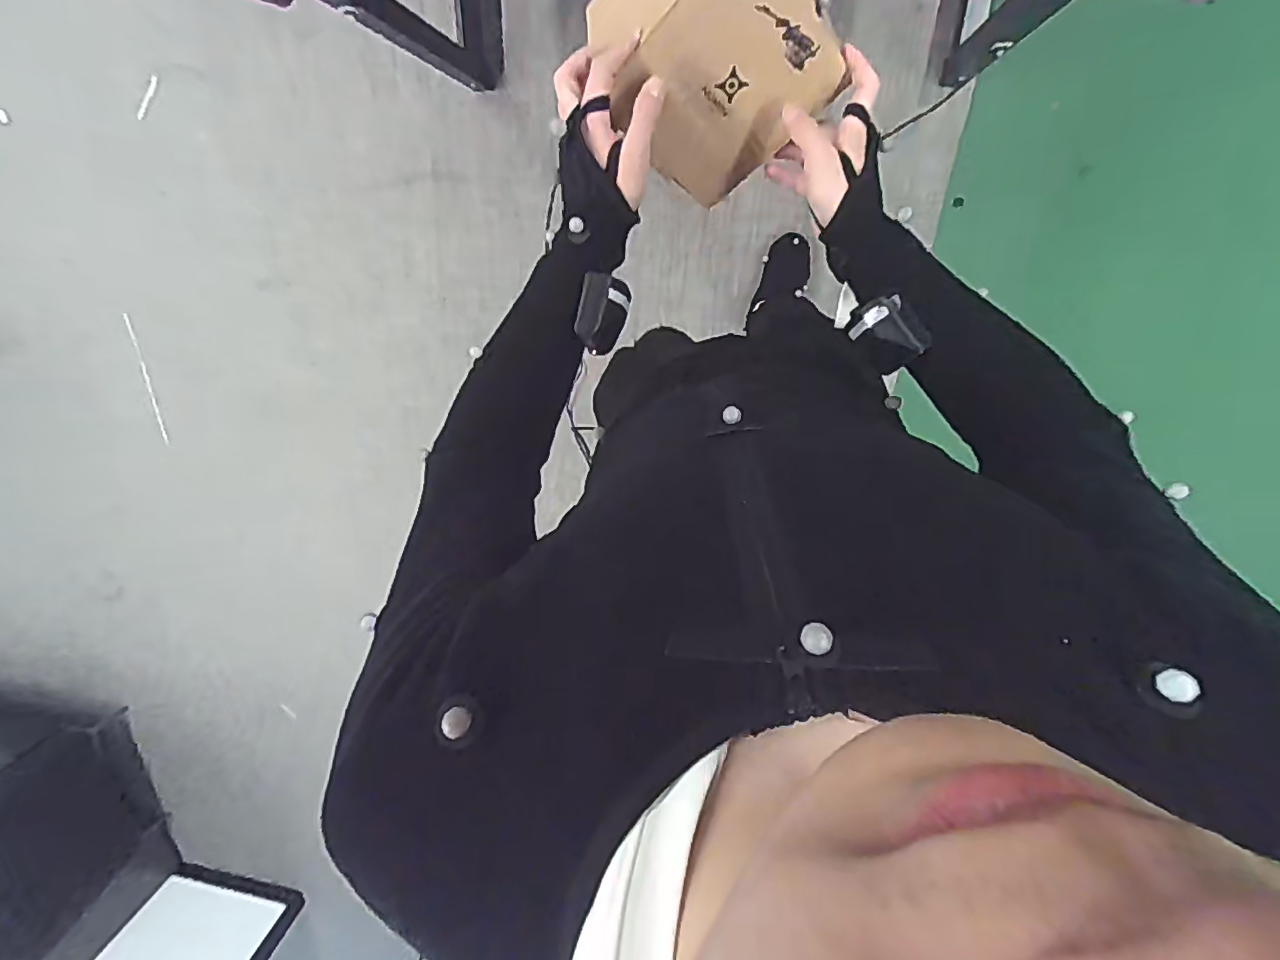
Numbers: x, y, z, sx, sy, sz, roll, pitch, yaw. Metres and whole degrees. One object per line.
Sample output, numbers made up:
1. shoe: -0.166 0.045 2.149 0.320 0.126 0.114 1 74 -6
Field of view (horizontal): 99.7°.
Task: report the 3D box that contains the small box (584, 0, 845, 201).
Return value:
1. small box: 0.064 -0.424 0.516 0.179 0.176 0.168 -26 146 38
